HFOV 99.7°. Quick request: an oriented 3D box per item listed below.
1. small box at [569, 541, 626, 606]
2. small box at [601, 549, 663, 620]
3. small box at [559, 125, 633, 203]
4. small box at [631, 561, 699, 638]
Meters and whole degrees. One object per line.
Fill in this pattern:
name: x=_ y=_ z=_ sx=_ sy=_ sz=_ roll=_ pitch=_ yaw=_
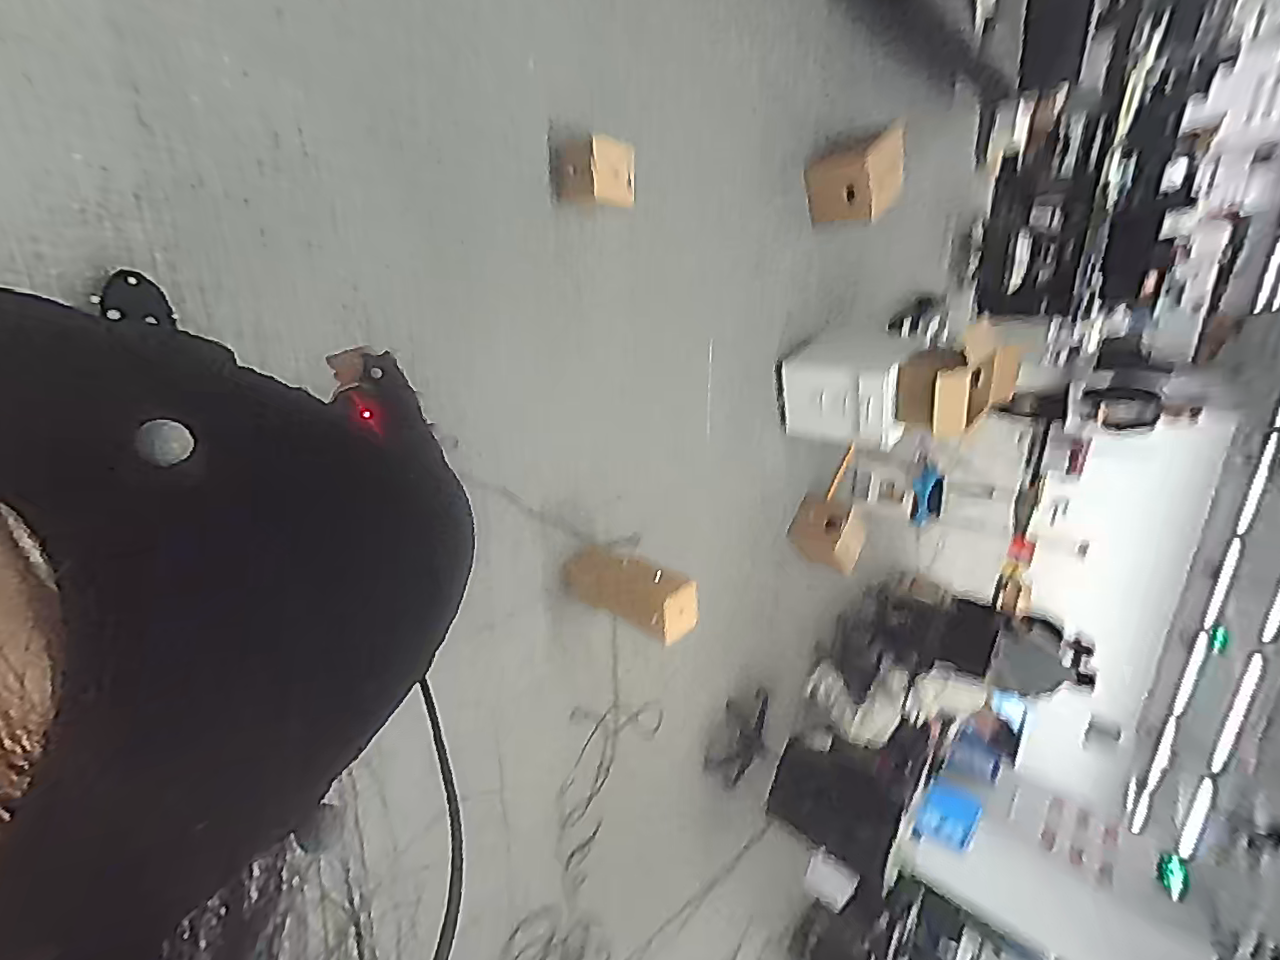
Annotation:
small box: x=-0.157 y=0.350 z=2.078 sx=0.168 sy=0.176 sz=0.179 roll=-26 pitch=120 yaw=-39
small box: x=-0.027 y=0.375 z=1.980 sx=0.168 sy=0.176 sz=0.179 roll=-22 pitch=117 yaw=-42
small box: x=-0.140 y=-0.976 z=1.688 sx=0.179 sy=0.176 sz=0.168 roll=-16 pitch=113 yaw=-44
small box: x=0.086 y=0.406 z=1.867 sx=0.168 sy=0.176 sz=0.179 roll=-23 pitch=117 yaw=-41
